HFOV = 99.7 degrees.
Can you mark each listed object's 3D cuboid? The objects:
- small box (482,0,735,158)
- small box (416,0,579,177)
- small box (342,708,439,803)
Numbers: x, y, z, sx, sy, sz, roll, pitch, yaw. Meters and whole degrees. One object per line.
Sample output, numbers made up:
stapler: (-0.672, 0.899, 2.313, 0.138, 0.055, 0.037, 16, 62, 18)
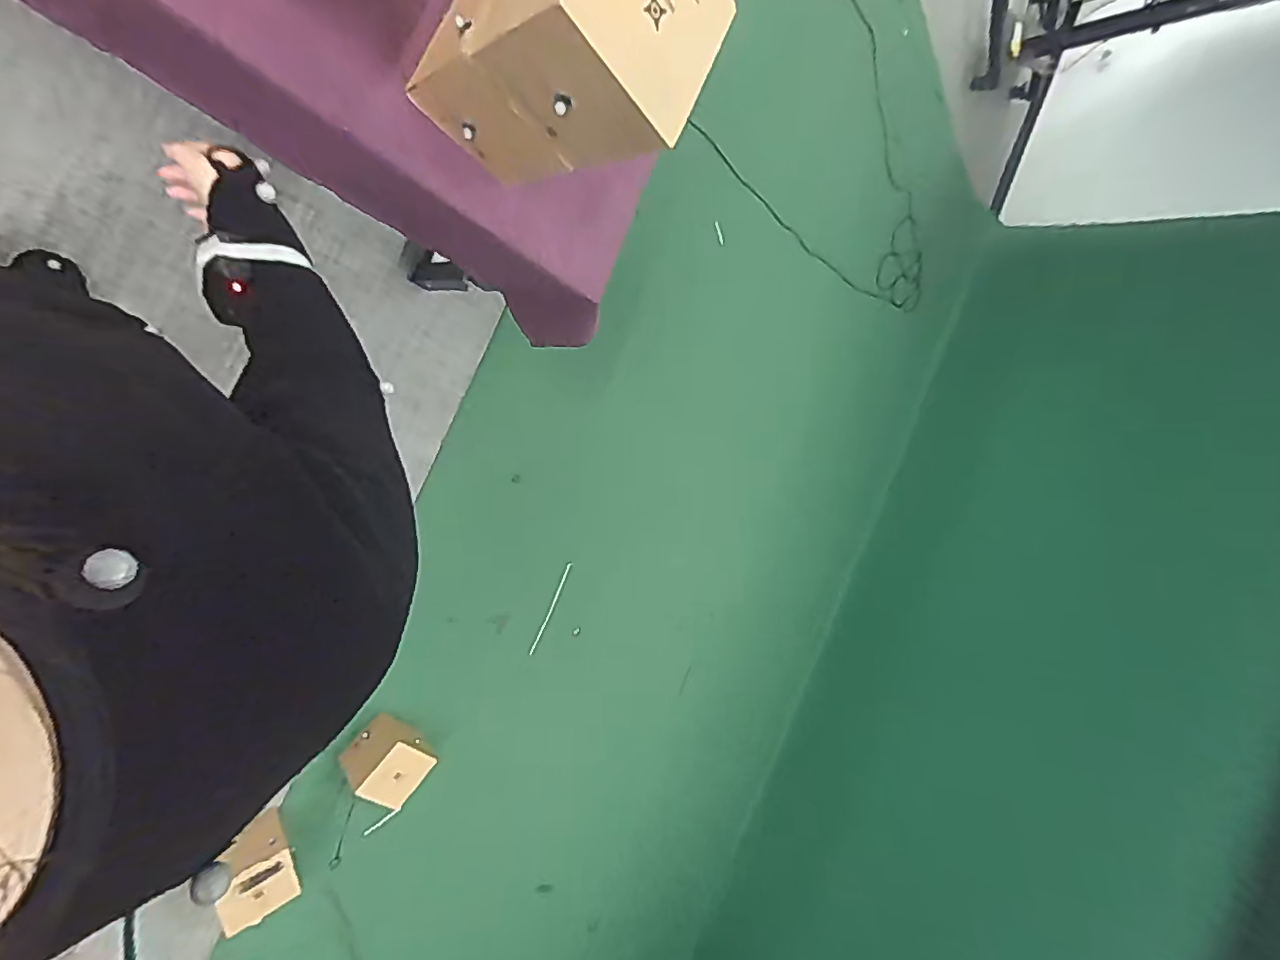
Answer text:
small box: (-0.038, -0.474, 0.564, 0.168, 0.176, 0.179, 27, 85, -47)
small box: (-0.150, -0.517, 0.677, 0.168, 0.176, 0.179, 29, 84, -46)
small box: (-0.752, 0.822, 1.626, 0.168, 0.176, 0.179, -49, 133, -20)
